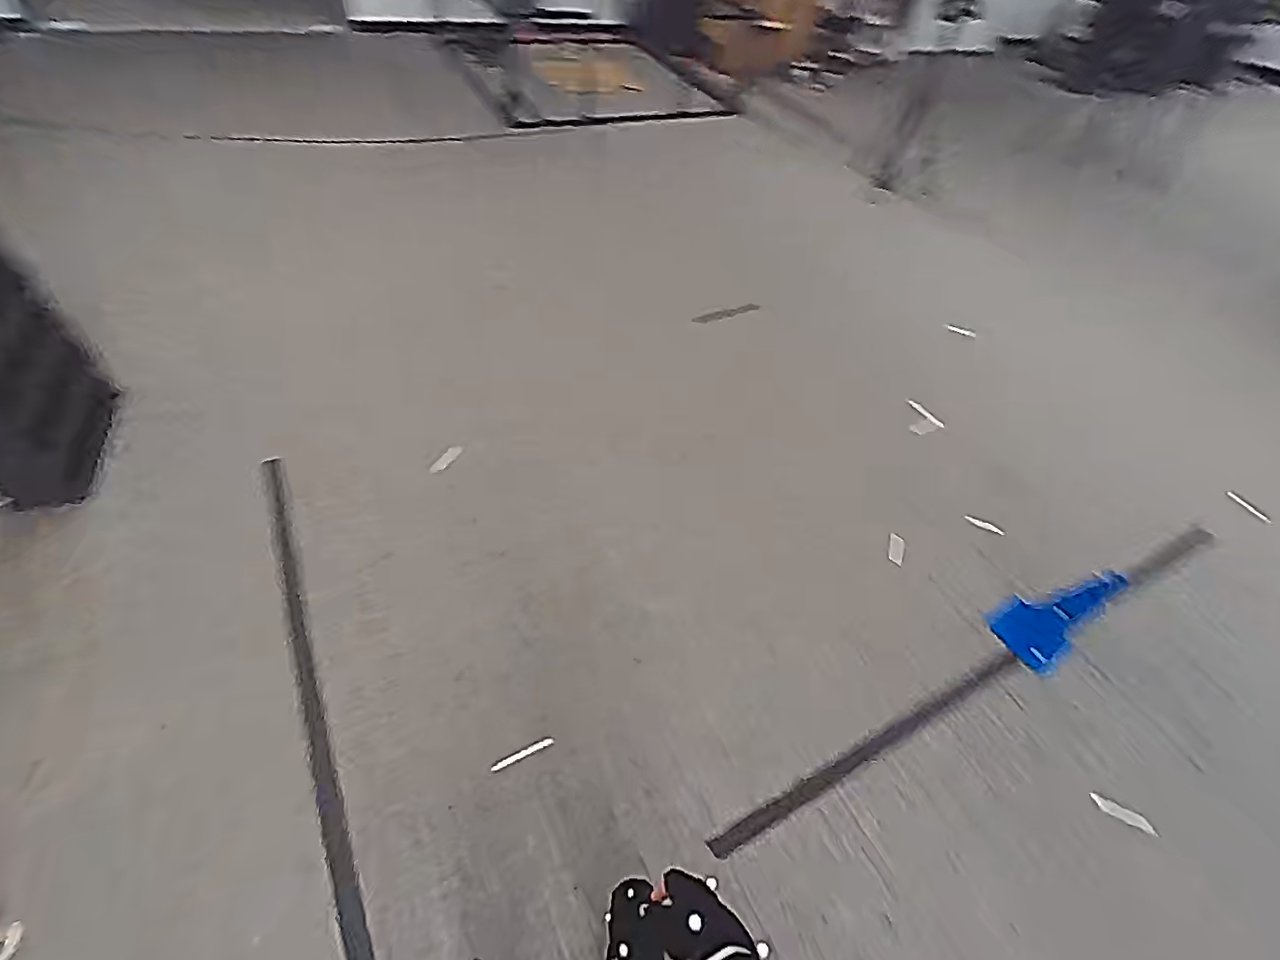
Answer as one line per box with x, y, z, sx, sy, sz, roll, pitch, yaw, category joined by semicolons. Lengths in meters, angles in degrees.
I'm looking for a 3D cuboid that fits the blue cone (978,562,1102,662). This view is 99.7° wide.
1.213;0.362;1.592;0.193;0.380;0.192;-21;56;-25;blue cone
